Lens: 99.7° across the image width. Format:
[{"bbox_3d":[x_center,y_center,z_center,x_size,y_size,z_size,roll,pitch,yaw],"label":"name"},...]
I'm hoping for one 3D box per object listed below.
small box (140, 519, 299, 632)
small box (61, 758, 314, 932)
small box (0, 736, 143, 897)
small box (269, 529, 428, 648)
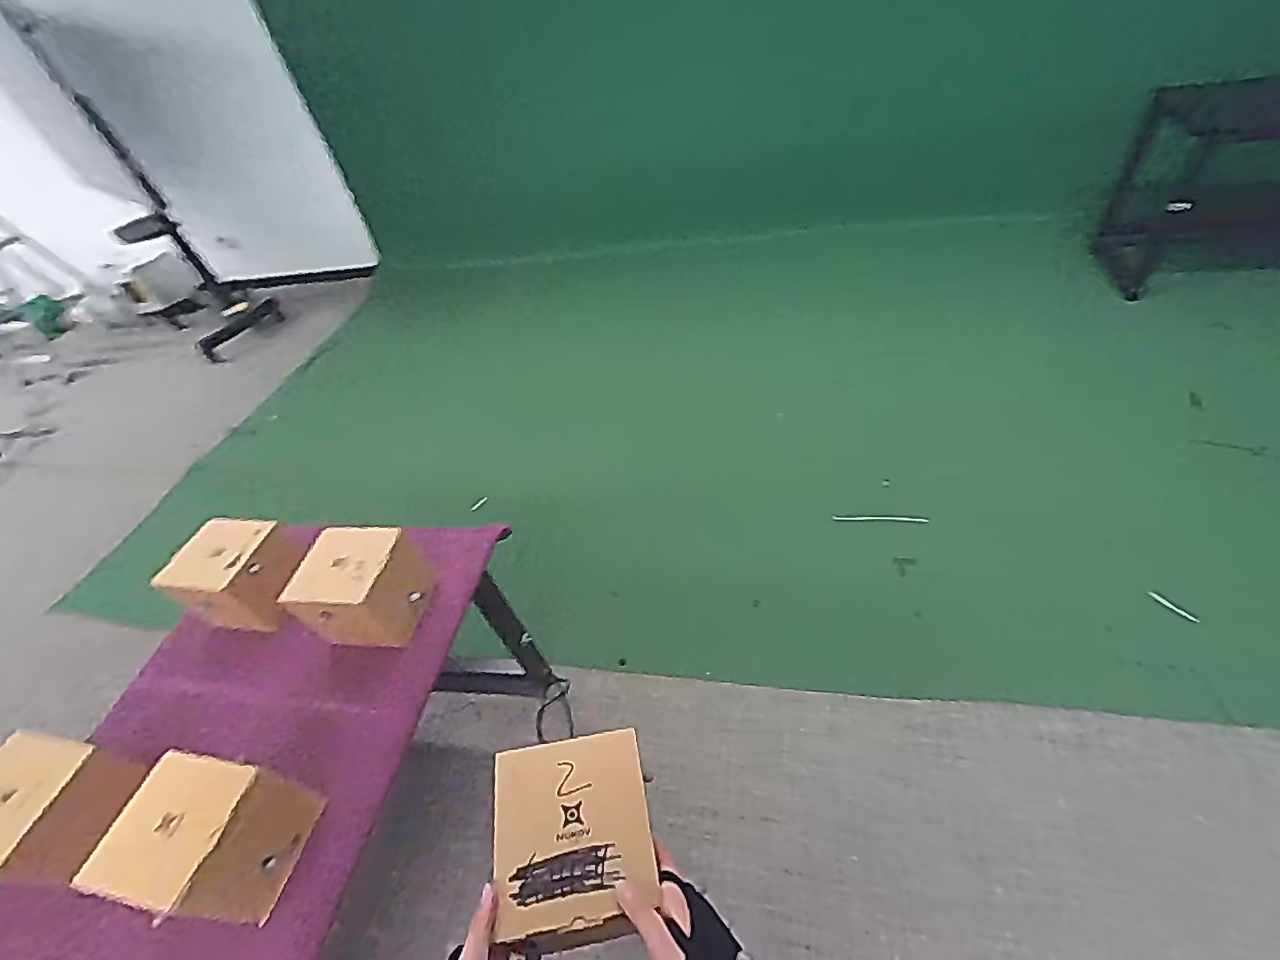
[{"bbox_3d":[-0.844,0.198,1.116,0.179,0.176,0.168,2,49,13],"label":"small box"},{"bbox_3d":[-0.624,0.521,0.772,0.179,0.176,0.168,2,47,13],"label":"small box"},{"bbox_3d":[-0.925,0.519,0.833,0.179,0.176,0.168,4,49,13],"label":"small box"},{"bbox_3d":[-0.548,0.210,1.043,0.179,0.176,0.168,0,49,11],"label":"small box"}]
